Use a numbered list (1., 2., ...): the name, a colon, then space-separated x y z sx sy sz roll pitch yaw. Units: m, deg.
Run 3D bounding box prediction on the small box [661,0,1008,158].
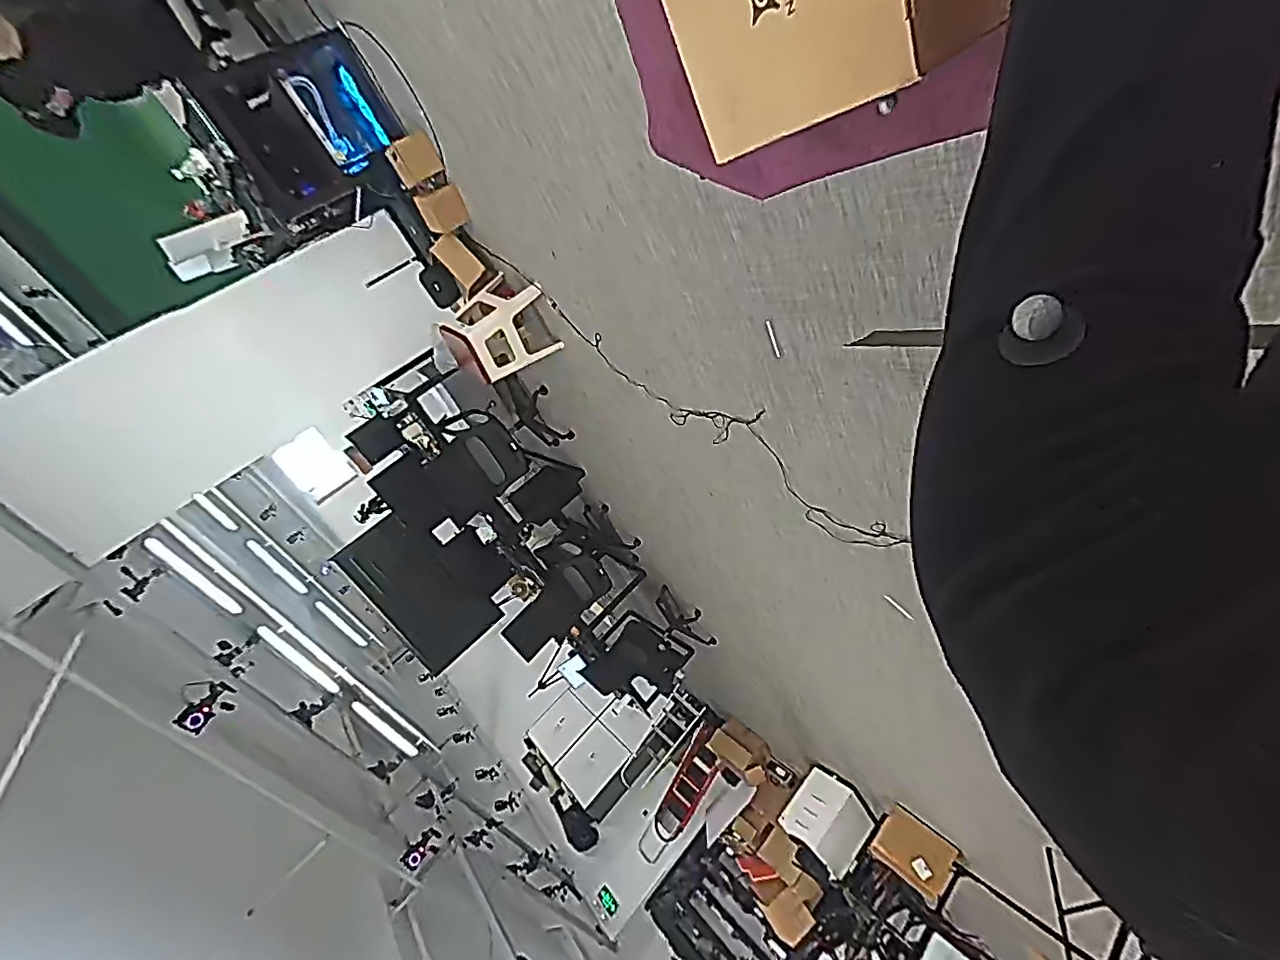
1. small box: 0.136 -0.368 0.383 0.179 0.176 0.168 14 140 53
